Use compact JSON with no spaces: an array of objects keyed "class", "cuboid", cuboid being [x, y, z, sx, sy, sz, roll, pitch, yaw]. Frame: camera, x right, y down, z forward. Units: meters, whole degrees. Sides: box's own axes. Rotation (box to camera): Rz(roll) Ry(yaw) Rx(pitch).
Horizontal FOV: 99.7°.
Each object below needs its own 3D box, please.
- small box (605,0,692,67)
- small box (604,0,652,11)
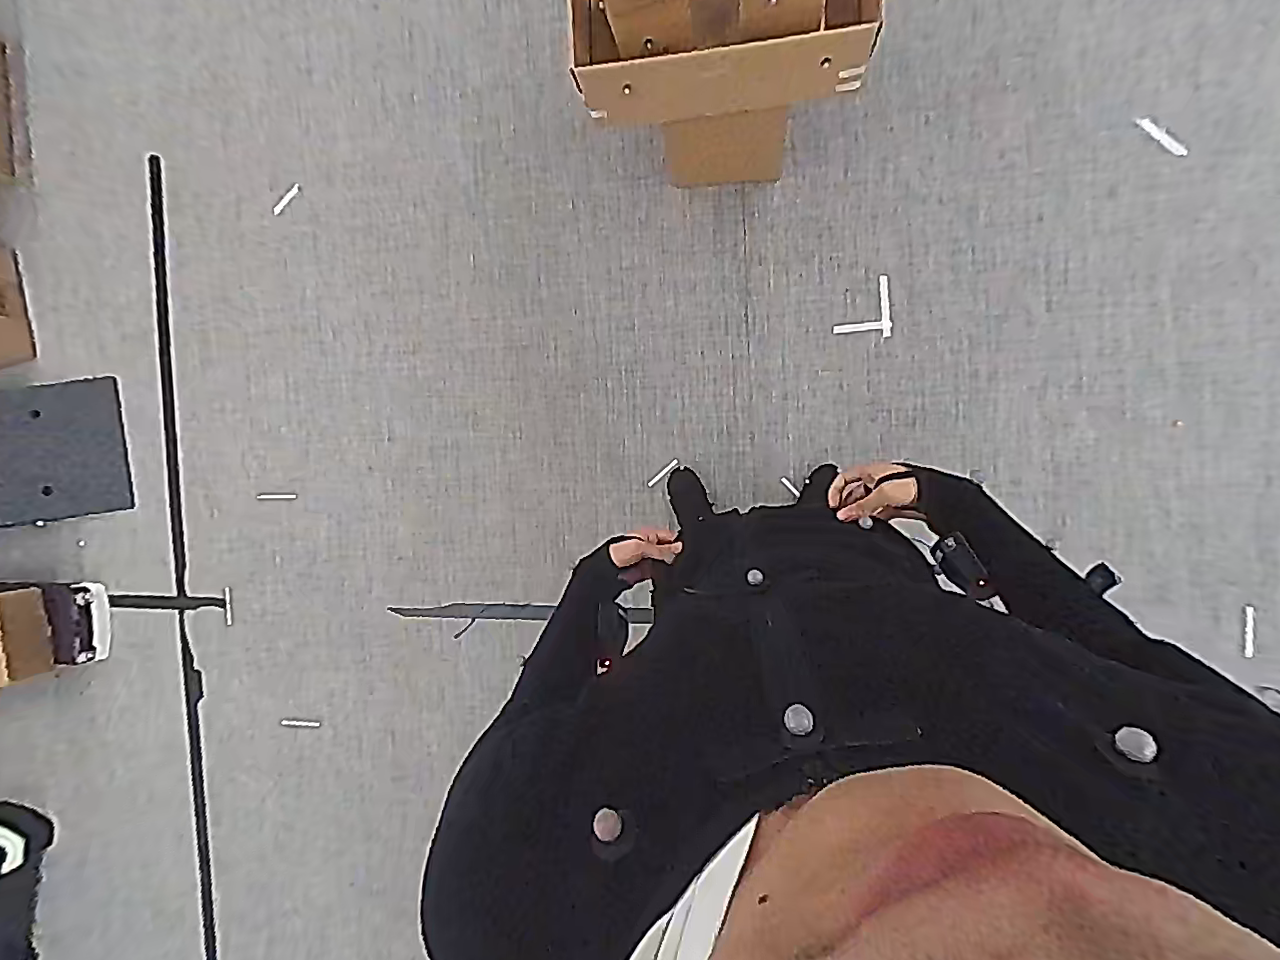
[{"class":"small box","cuboid":[0.012,-1.027,1.132,0.168,0.176,0.179,-9,91,11]},{"class":"small box","cuboid":[-0.013,-1.011,0.970,0.168,0.176,0.179,-9,91,11]}]
